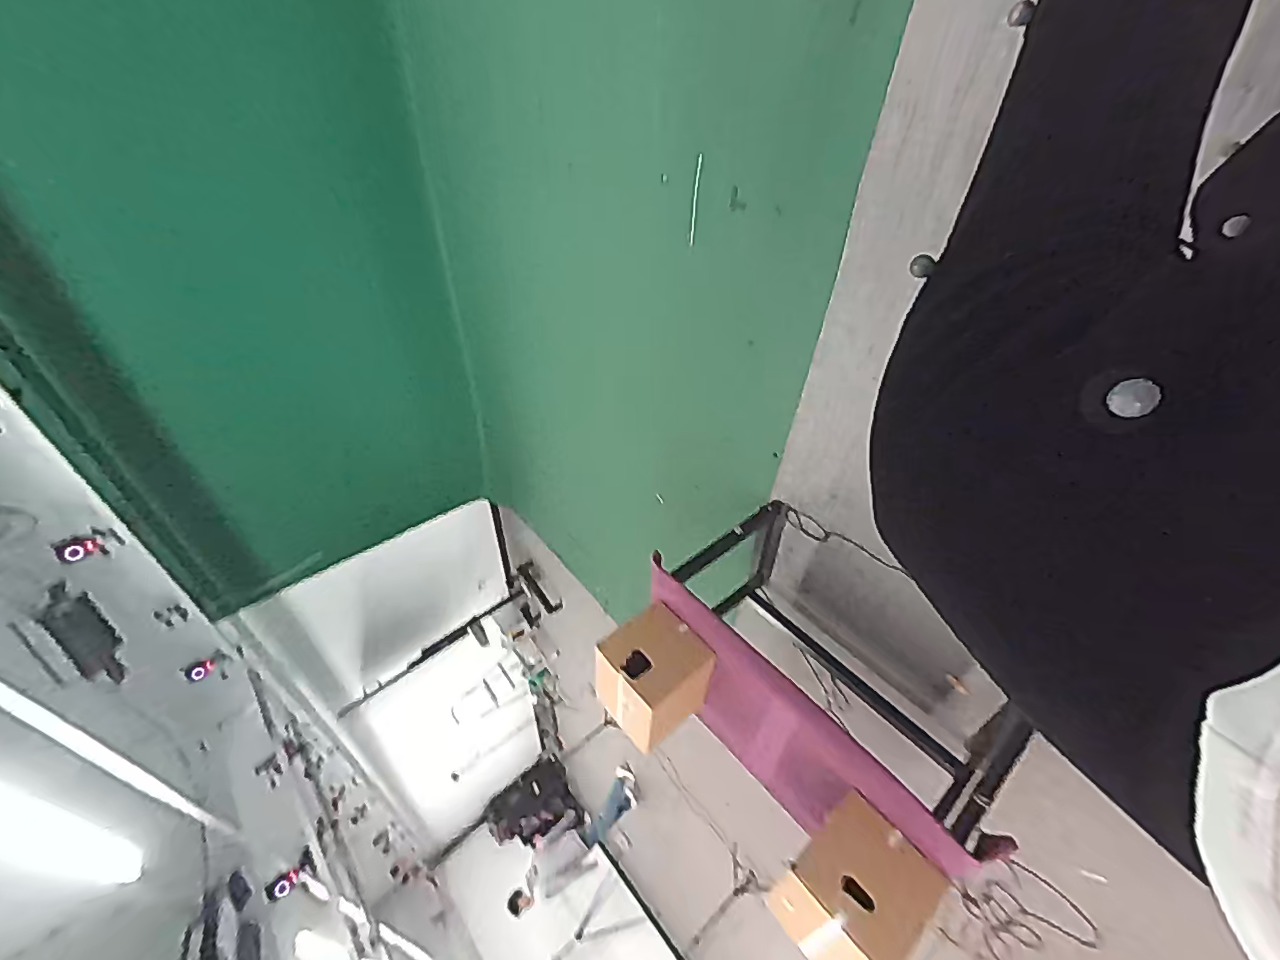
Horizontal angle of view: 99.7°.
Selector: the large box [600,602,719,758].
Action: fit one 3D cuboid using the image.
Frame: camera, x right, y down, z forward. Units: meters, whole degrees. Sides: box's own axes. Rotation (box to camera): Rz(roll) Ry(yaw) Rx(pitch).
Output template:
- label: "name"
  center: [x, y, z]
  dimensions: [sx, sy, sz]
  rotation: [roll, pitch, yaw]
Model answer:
- label: "large box"
  center: [0.063, 0.744, 2.023]
  dimensions: [0.320, 0.320, 0.408]
  rotation: [38, 142, 32]
